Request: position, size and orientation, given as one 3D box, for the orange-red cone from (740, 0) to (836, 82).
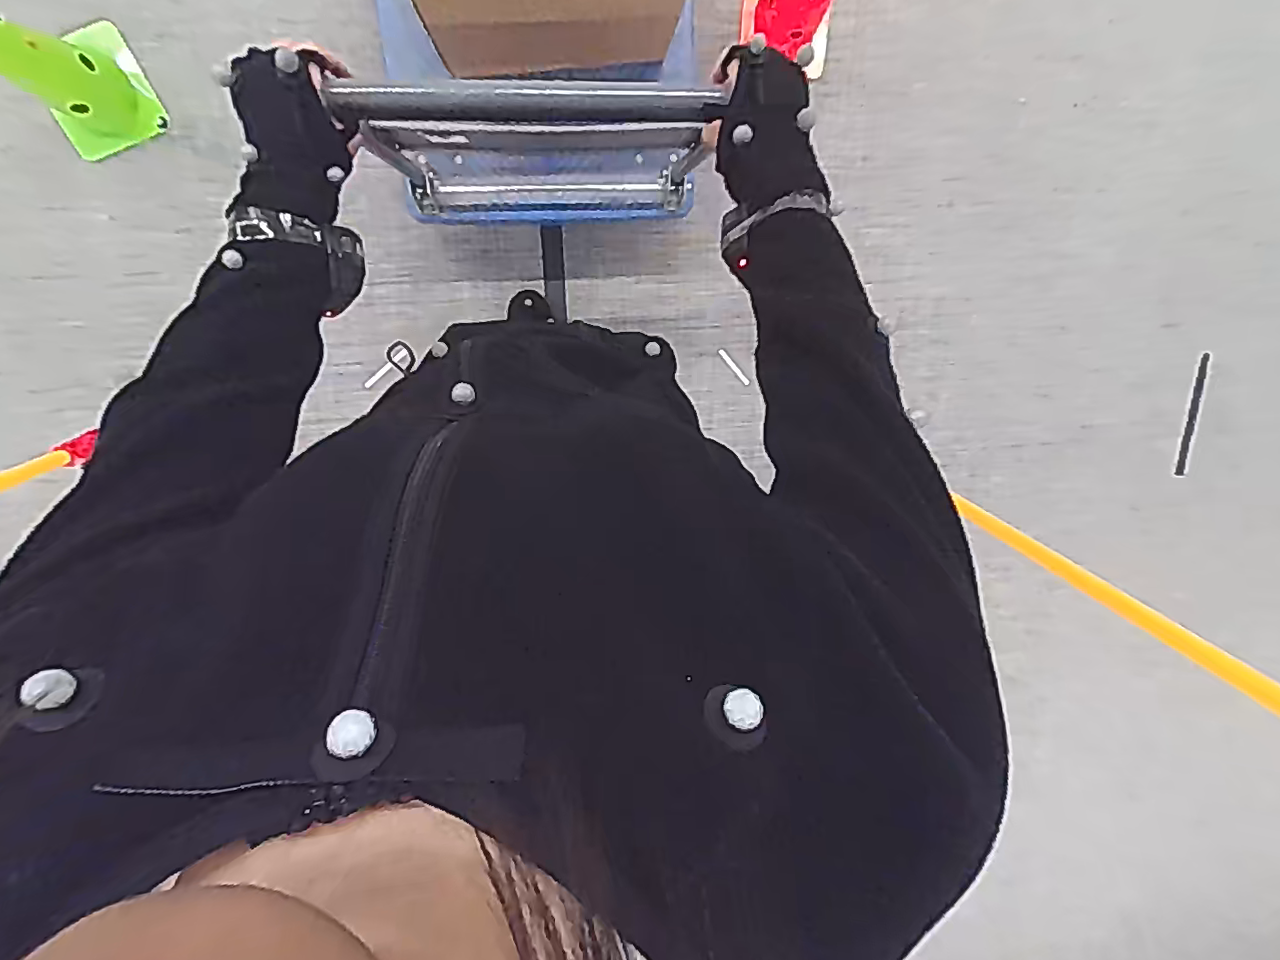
[{"bbox_3d":[0.346,-0.947,1.022,0.199,0.360,0.198,2,107,-9],"label":"orange-red cone"}]
